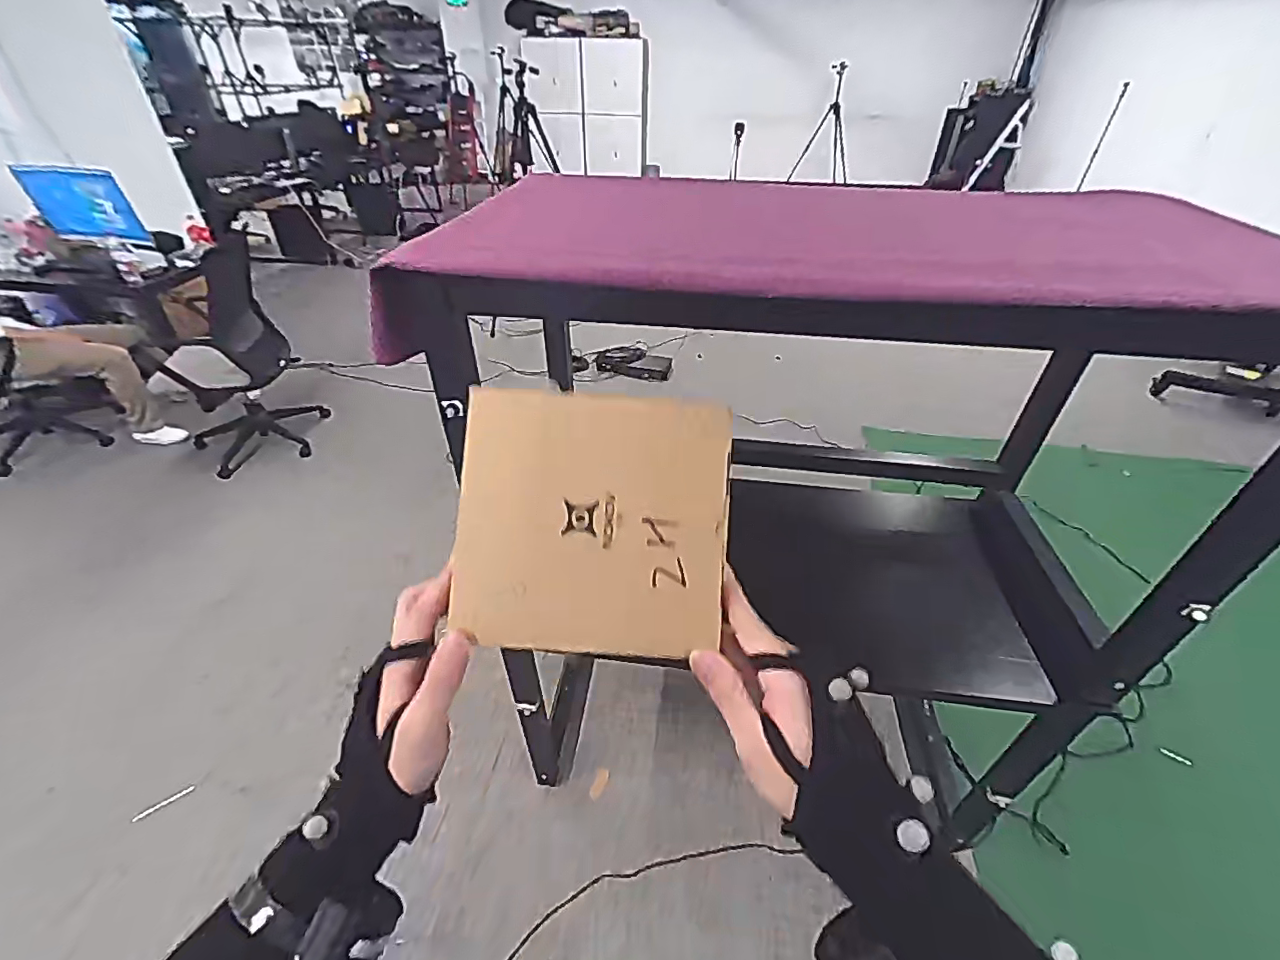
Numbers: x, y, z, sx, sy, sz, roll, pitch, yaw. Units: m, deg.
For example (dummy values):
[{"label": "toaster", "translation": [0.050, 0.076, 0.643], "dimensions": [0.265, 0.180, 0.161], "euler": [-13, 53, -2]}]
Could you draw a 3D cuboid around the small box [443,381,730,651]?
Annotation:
[{"label": "small box", "translation": [-0.034, 0.028, 0.428], "dimensions": [0.179, 0.168, 0.176], "euler": [4, -4, -1]}]
